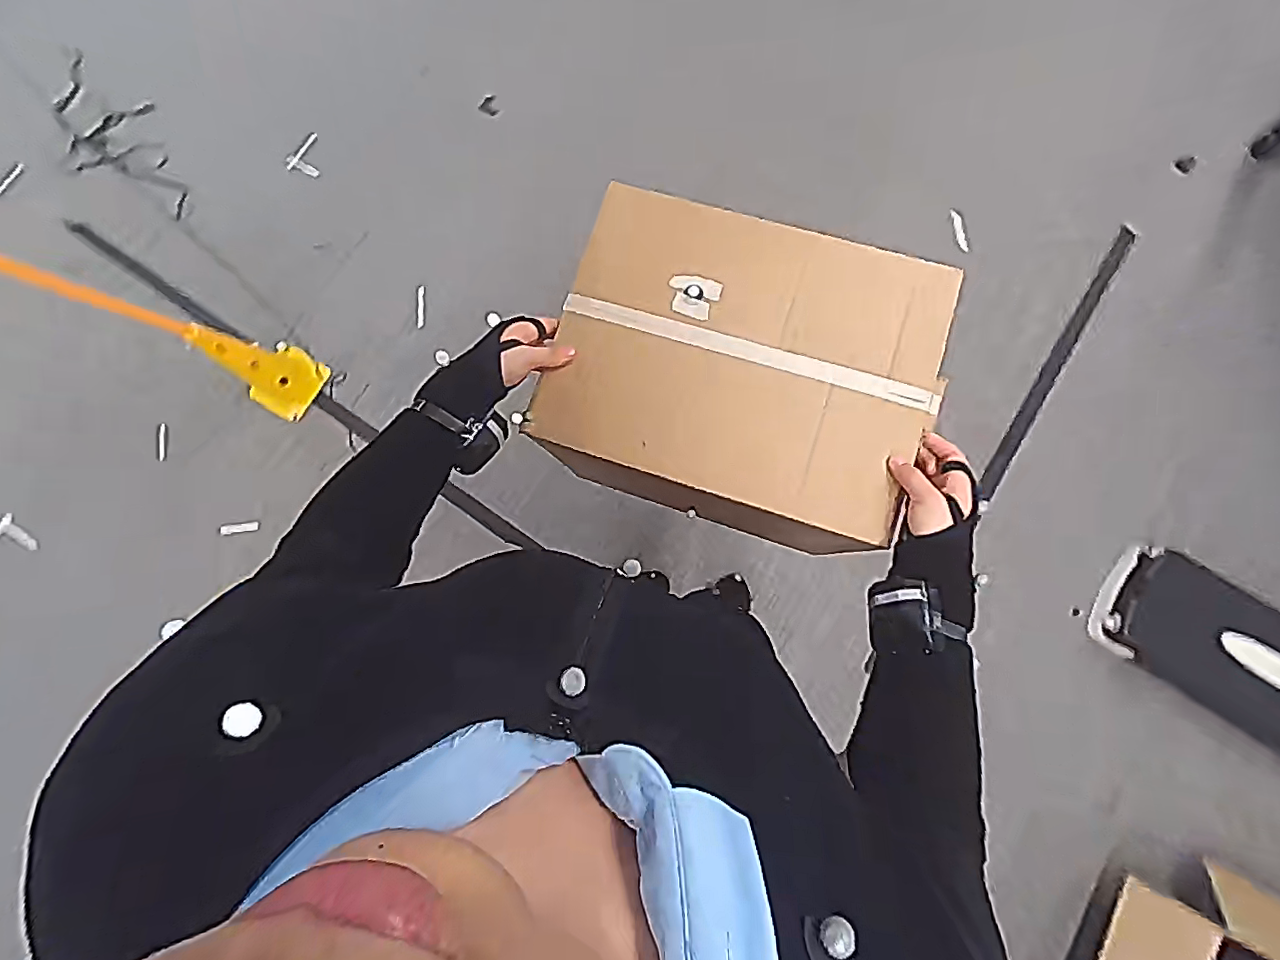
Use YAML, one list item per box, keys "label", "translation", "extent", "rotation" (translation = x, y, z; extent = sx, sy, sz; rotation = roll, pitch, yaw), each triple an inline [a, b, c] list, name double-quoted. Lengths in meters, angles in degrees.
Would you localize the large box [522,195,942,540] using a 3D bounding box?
- label: "large box"
  translation: [0.115, -0.120, 0.740]
  extent: [0.408, 0.320, 0.320]
  rotation: [16, 82, 8]
